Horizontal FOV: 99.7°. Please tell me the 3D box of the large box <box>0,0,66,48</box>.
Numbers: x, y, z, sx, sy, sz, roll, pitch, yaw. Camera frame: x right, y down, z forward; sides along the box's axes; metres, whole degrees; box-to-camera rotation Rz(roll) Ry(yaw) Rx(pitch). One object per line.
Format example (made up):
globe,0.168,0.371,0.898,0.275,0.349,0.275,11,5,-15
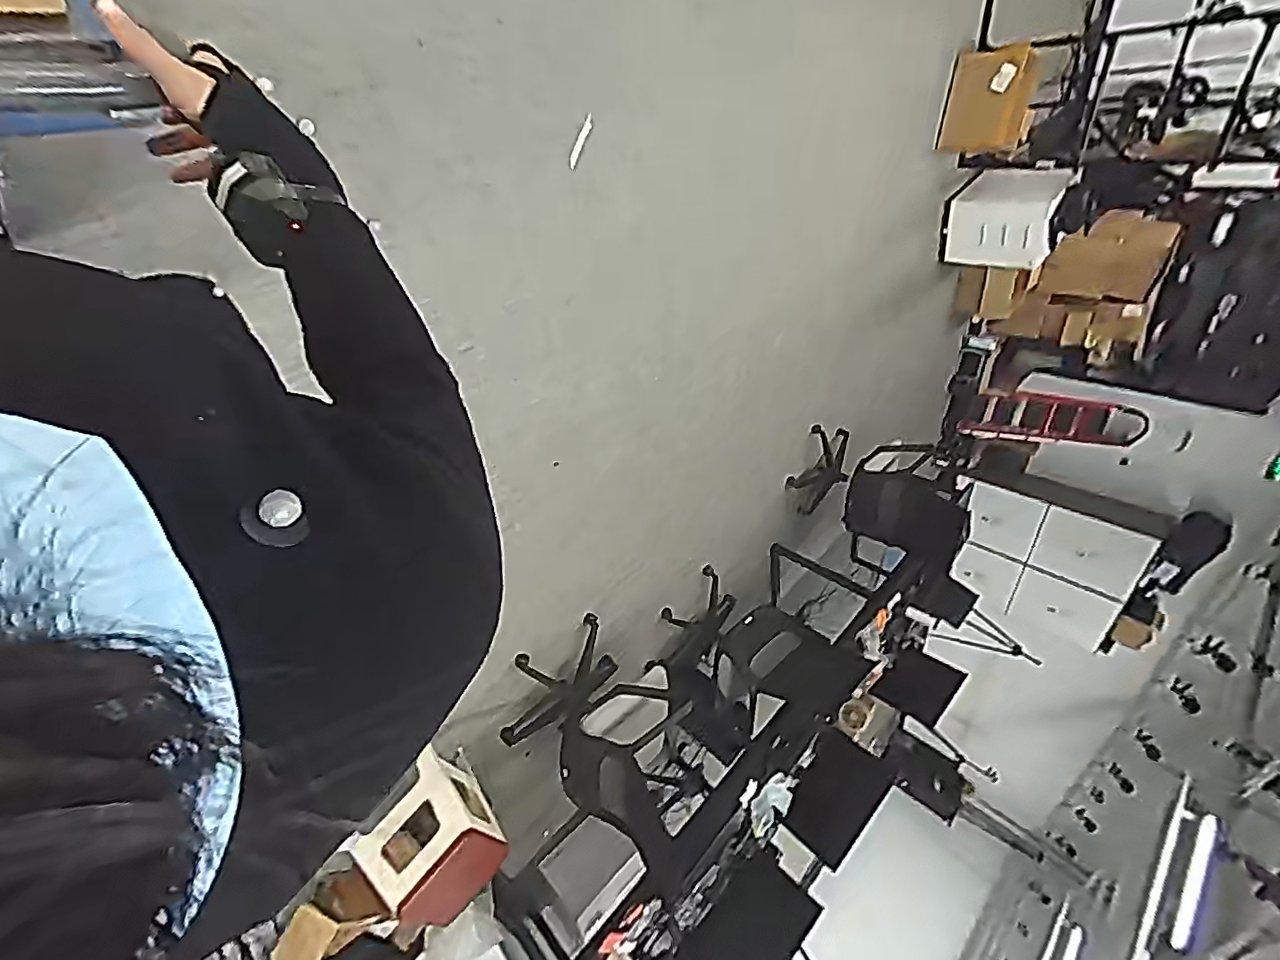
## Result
large box,-0.909,-0.635,0.518,0.408,0.320,0.320,-30,132,-35
